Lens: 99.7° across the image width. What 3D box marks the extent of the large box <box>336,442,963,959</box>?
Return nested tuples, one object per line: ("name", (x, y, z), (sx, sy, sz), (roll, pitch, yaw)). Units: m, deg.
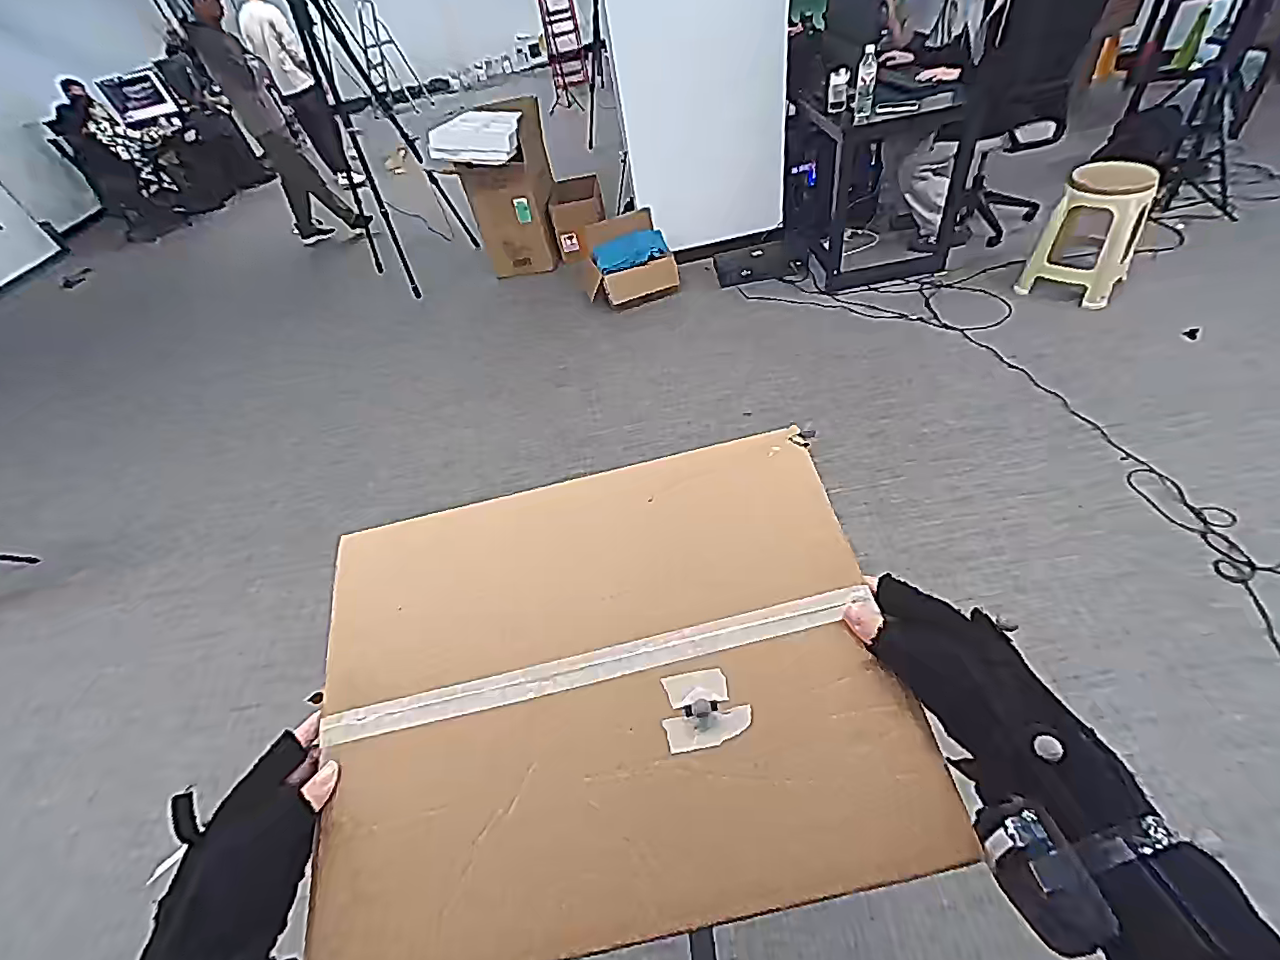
("large box", (-0.008, 0.215, 0.529), (0.408, 0.320, 0.320), (-14, 60, 0))
